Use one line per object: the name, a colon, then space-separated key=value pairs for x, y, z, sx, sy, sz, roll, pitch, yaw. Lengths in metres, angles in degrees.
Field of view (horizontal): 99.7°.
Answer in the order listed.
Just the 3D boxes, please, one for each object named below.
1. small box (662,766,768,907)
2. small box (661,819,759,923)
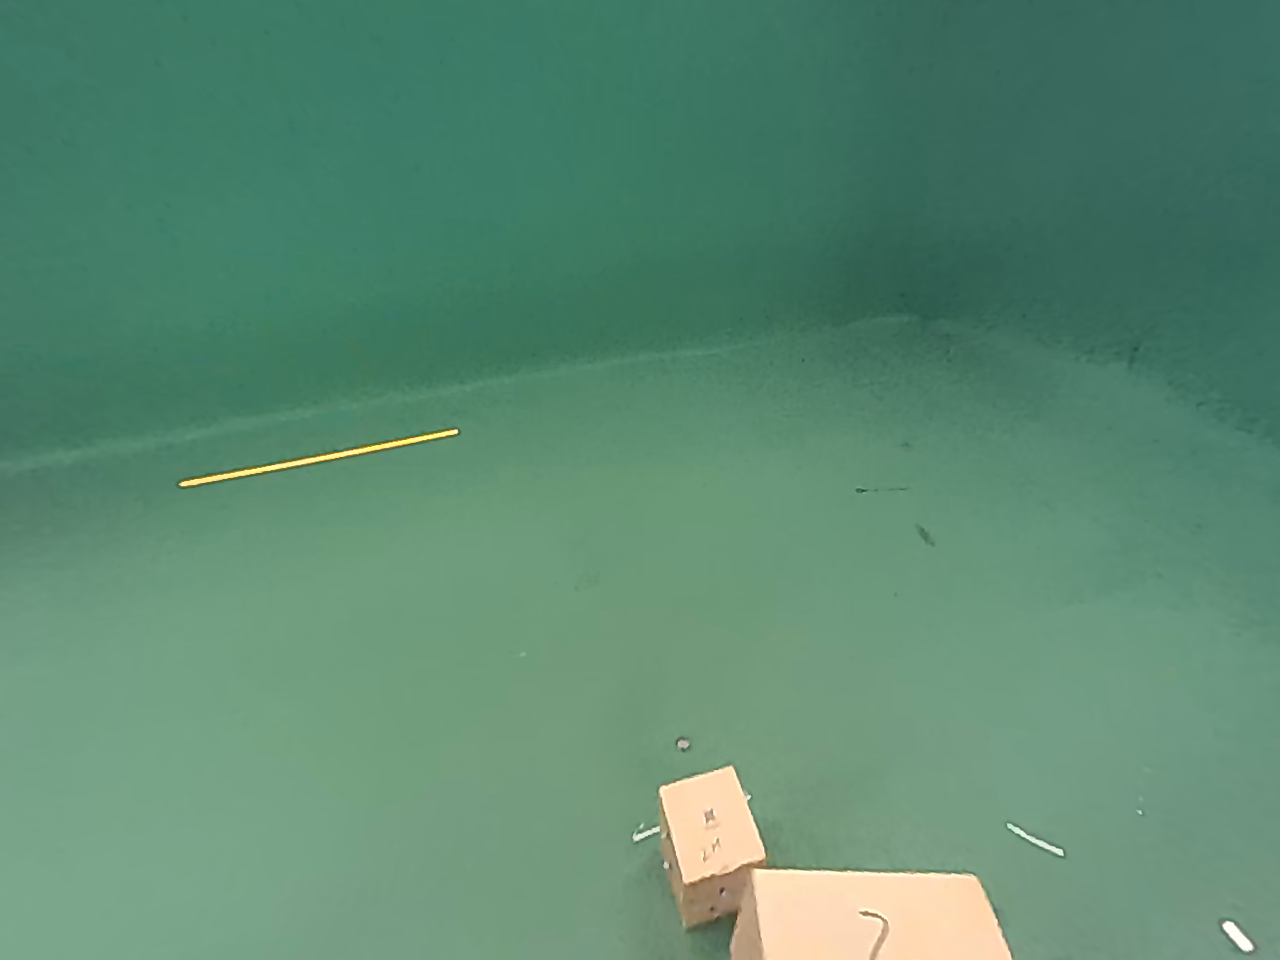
small box: x=0.145 y=0.734 z=1.115 sx=0.168 sy=0.176 sz=0.179 roll=-11 pitch=40 yaw=-10
small box: x=0.154 y=0.862 z=1.220 sx=0.168 sy=0.176 sz=0.179 roll=-12 pitch=39 yaw=-12
